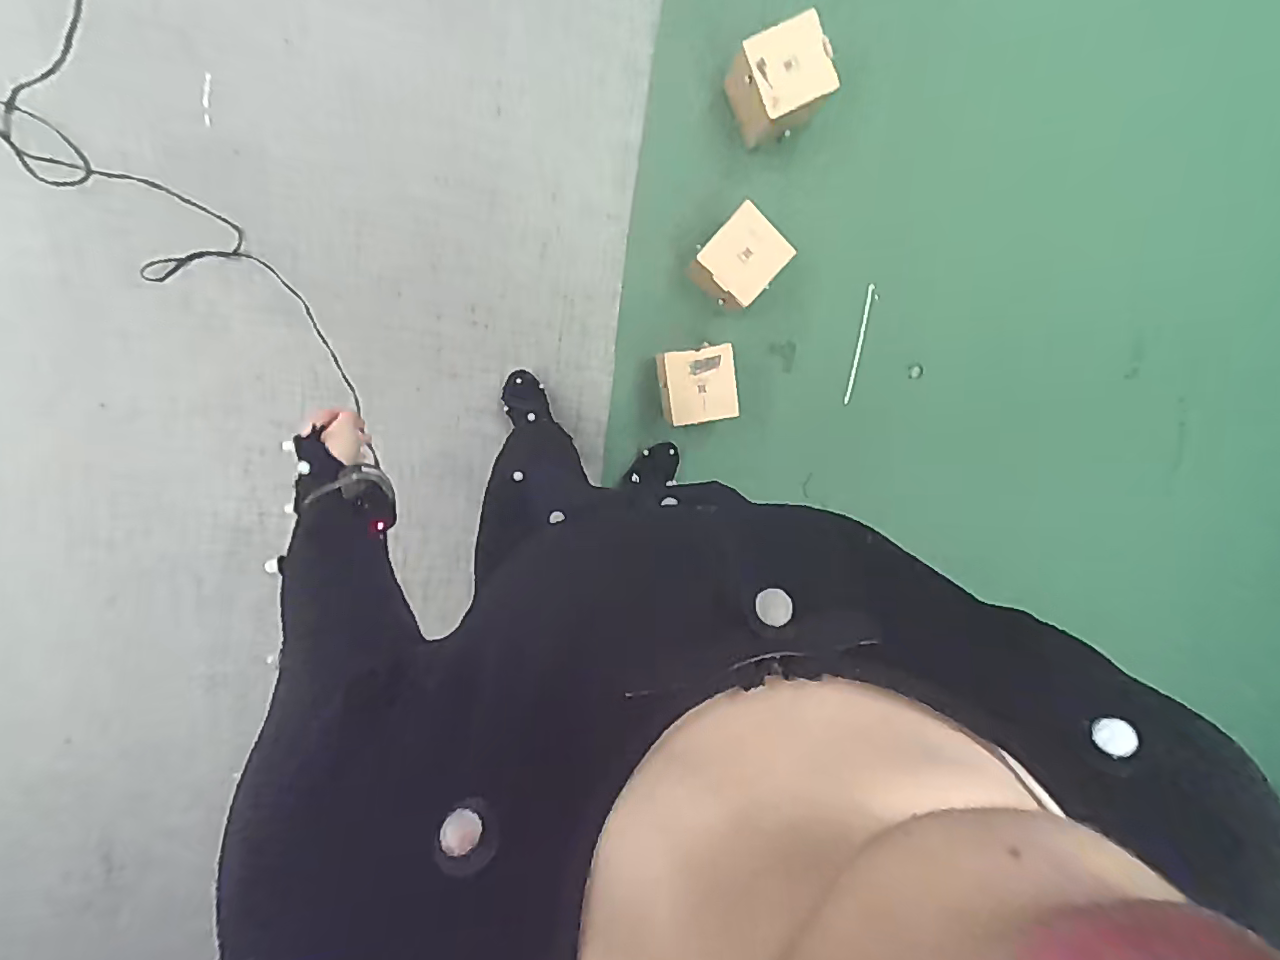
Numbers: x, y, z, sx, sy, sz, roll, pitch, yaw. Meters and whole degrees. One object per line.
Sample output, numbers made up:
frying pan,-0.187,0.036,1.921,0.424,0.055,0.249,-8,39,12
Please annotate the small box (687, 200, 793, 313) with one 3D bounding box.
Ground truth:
small box,0.231,-0.527,1.309,0.168,0.176,0.179,42,94,-11

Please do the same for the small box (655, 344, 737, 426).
small box,0.135,-0.238,1.356,0.168,0.176,0.179,-9,102,-3

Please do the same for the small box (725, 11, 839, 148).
small box,0.320,-0.908,1.243,0.179,0.176,0.168,-25,102,-1
